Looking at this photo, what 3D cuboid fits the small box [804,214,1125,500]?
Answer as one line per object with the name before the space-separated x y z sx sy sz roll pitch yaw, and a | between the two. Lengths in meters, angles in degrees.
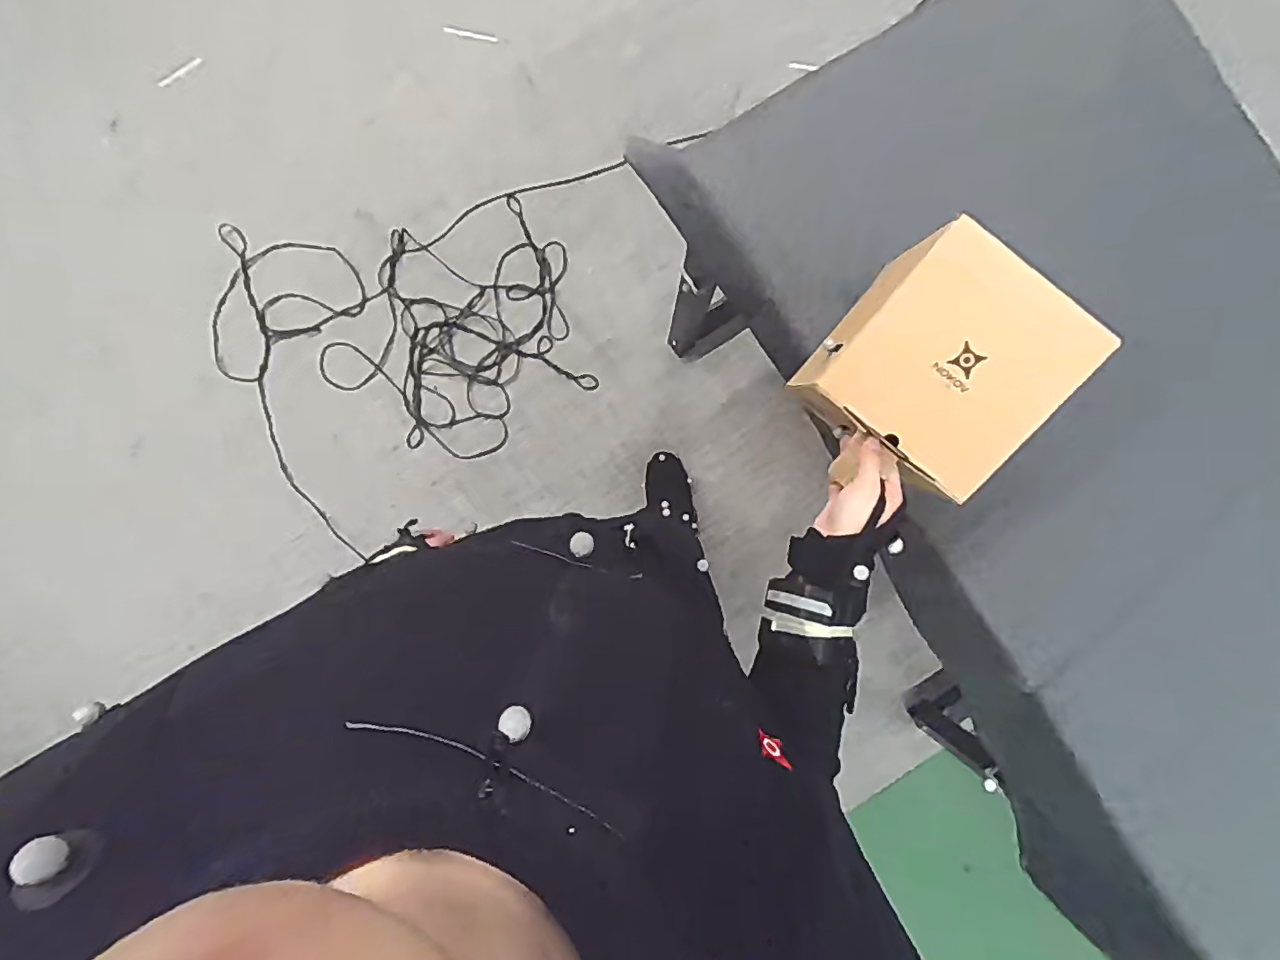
small box | 0.283 -0.111 0.525 0.168 0.176 0.179 39 102 -1
